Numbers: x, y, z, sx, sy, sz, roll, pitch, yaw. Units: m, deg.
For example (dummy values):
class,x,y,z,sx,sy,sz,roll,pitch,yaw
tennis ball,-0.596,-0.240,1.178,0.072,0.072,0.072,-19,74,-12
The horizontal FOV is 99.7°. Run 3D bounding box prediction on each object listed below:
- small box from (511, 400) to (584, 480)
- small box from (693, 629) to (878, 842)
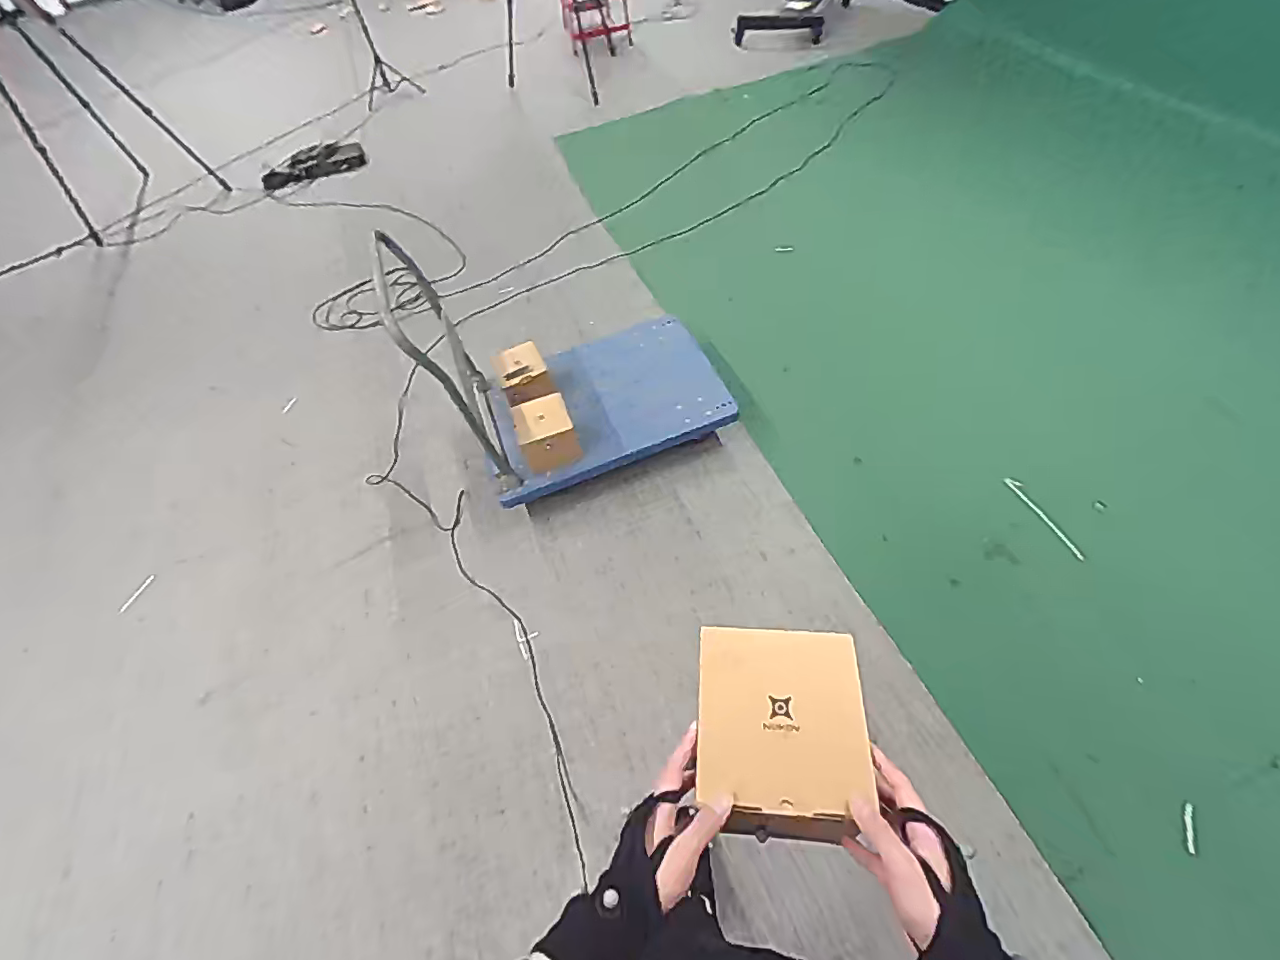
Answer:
class,x,y,z,sx,sy,sz,roll,pitch,yaw
small box,-0.298,-0.125,1.758,0.179,0.176,0.168,-19,56,-6
small box,0.145,0.286,0.605,0.168,0.176,0.179,1,52,6
